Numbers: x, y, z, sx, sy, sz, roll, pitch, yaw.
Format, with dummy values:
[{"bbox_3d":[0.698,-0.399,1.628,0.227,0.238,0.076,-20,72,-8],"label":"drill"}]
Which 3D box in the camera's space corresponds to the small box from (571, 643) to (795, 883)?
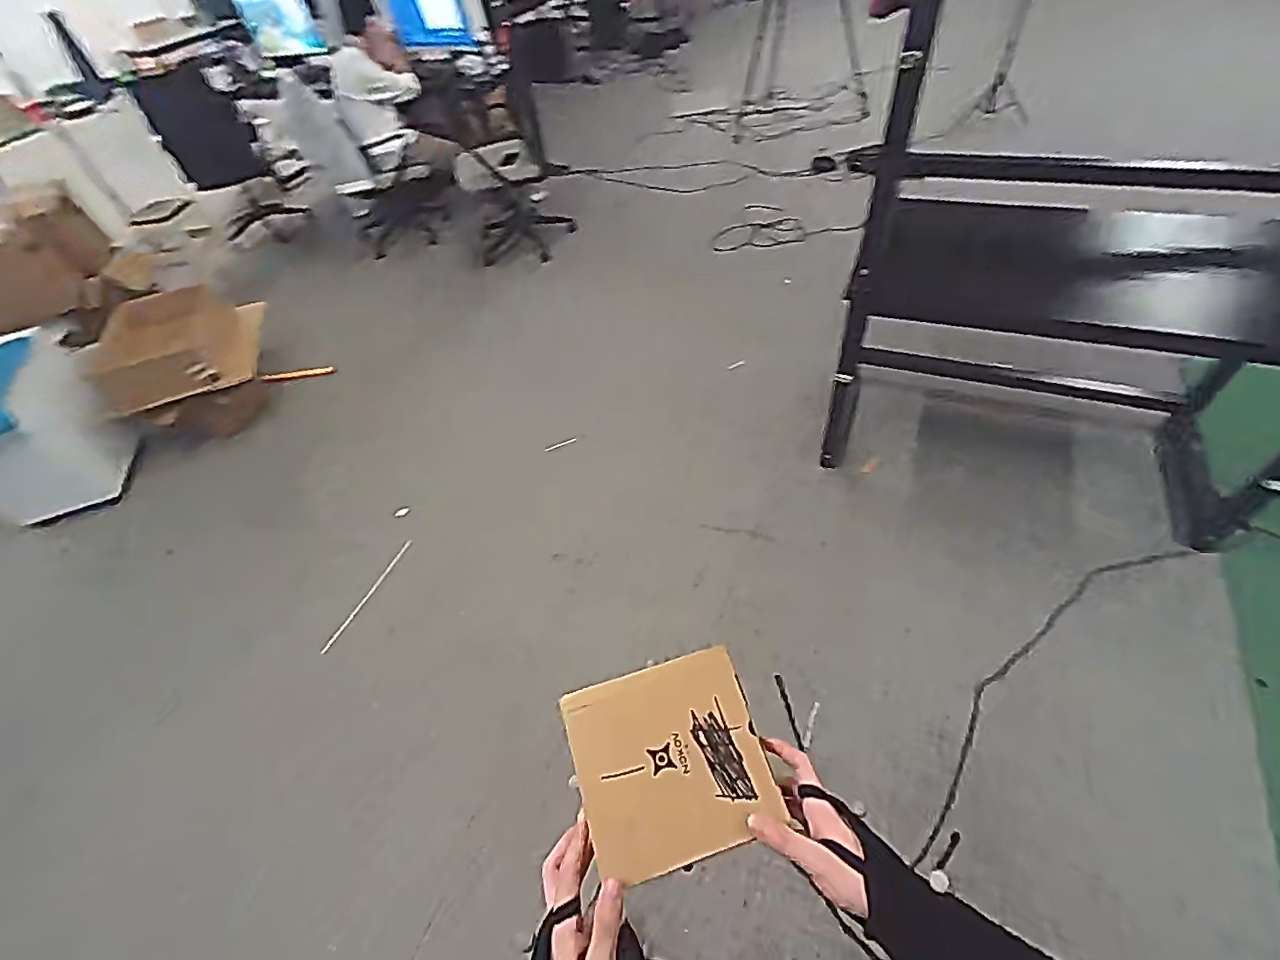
[{"bbox_3d":[0.033,0.288,0.571,0.179,0.176,0.168,-13,63,-8],"label":"small box"}]
